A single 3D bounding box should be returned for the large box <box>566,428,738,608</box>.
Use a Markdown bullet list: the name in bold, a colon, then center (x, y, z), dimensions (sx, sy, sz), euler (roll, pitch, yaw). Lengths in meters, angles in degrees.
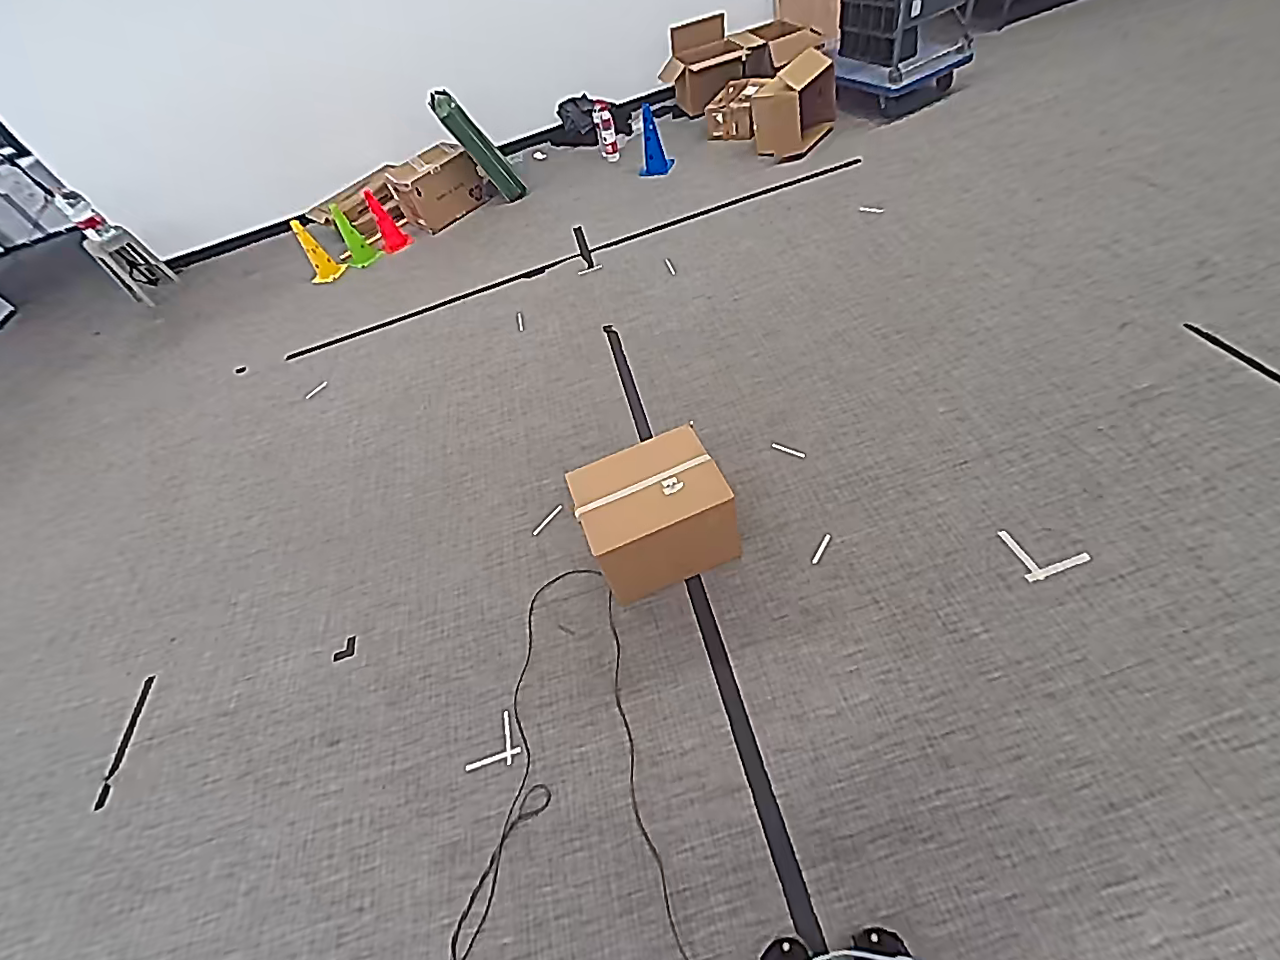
- **large box**: center (0.041, 0.117, 1.613), dimensions (0.408, 0.320, 0.320), euler (-22, 51, -4)
